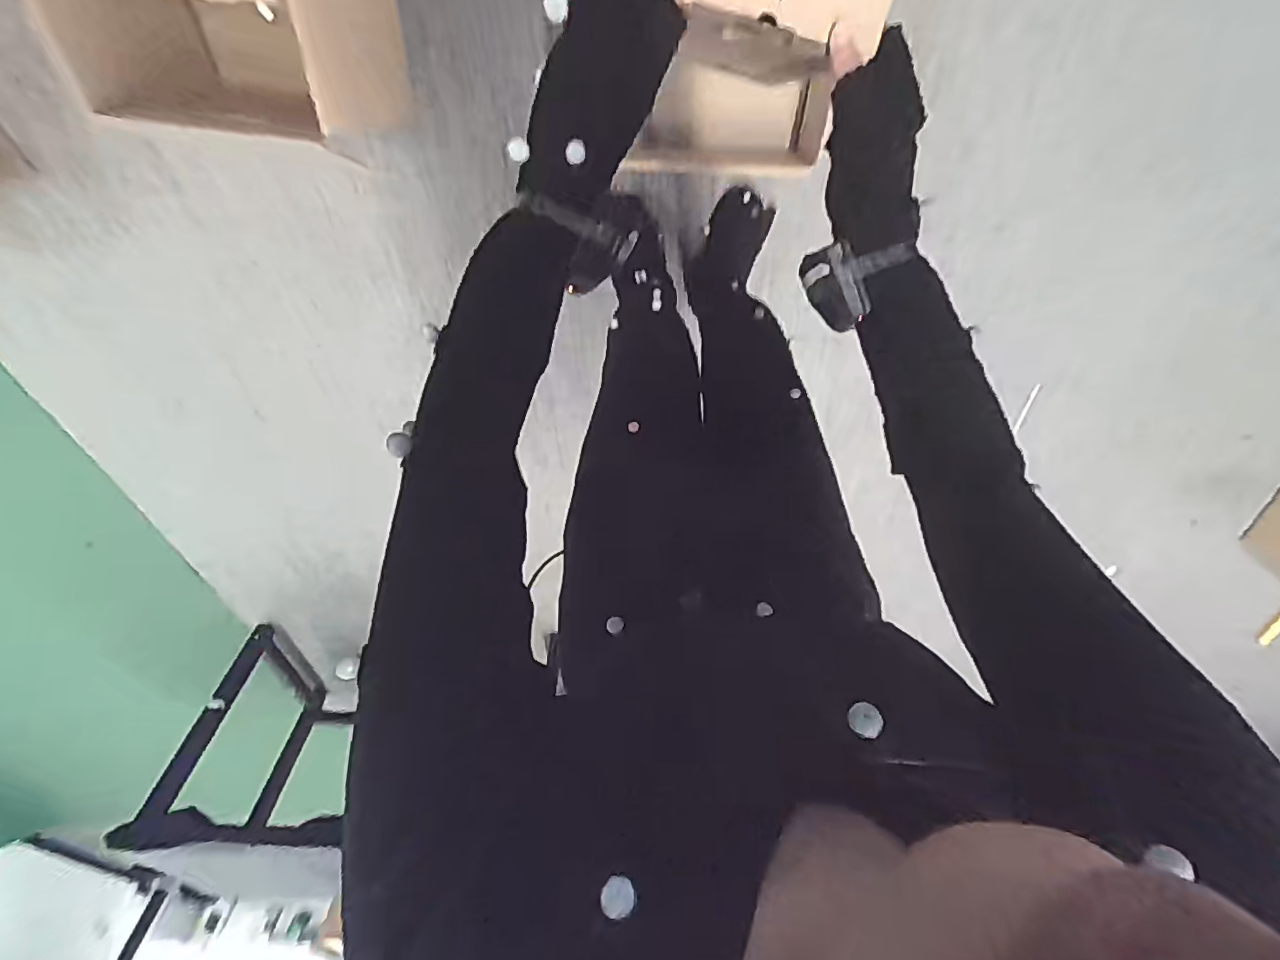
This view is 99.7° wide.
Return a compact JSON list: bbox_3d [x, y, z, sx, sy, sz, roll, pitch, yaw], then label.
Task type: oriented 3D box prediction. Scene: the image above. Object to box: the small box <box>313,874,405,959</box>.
[{"bbox_3d":[-0.826,1.306,1.615,0.168,0.176,0.179,2,131,1],"label":"small box"}]
